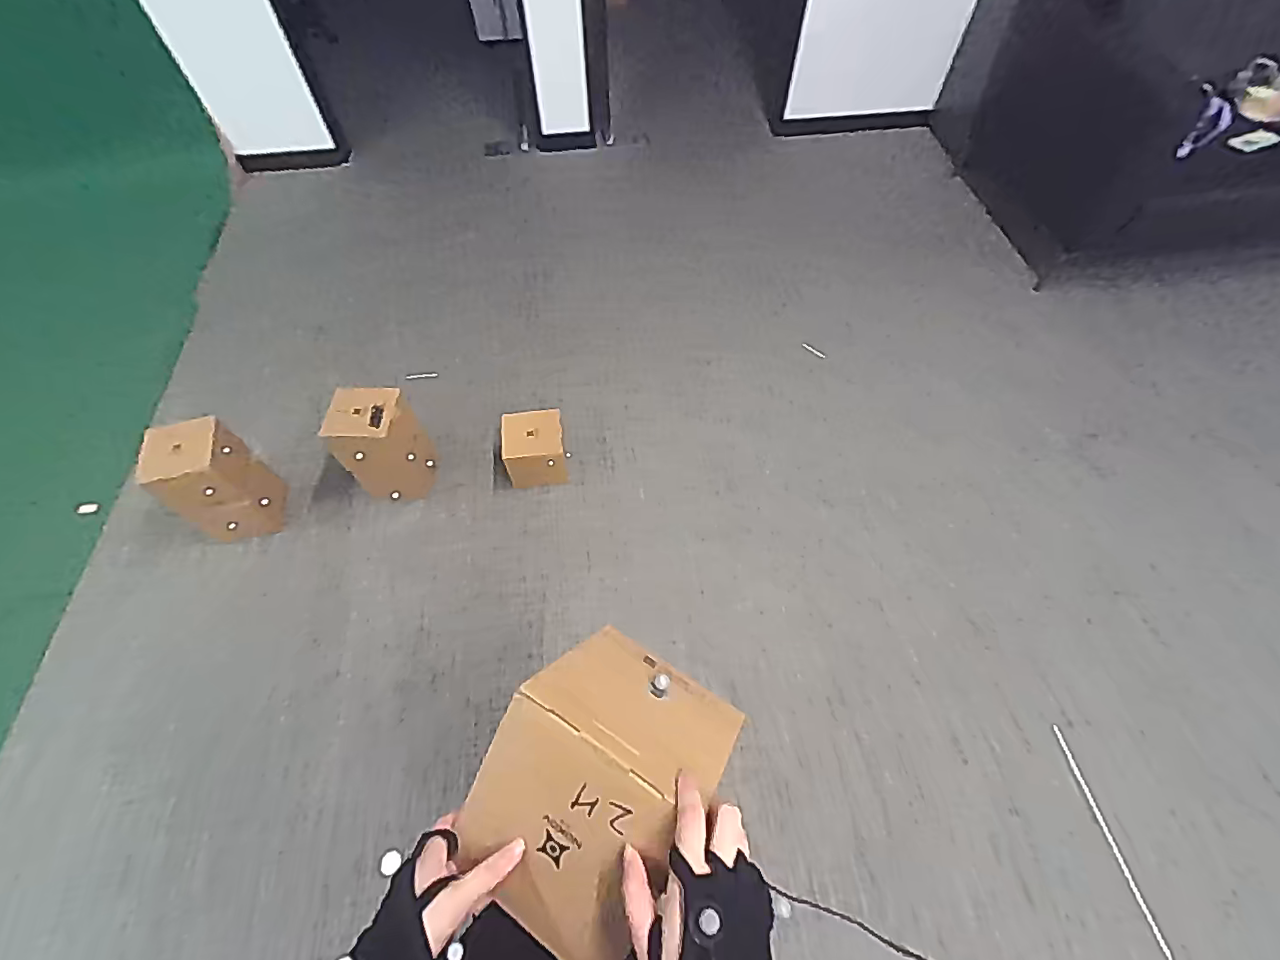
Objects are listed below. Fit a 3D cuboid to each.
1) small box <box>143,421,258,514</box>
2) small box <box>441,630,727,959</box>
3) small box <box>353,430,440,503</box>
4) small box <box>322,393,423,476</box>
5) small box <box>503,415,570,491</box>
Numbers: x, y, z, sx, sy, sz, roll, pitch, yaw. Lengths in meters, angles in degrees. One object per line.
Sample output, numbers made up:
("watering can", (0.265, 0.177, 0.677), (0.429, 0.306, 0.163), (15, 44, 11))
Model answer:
("small box", (-1.147, -0.025, 1.428), (0.168, 0.176, 0.179), (-14, 58, -9))
("small box", (-0.038, 0.270, 0.490), (0.168, 0.176, 0.179), (29, 102, 17))
("small box", (-0.725, -0.040, 1.632), (0.179, 0.176, 0.168), (1, 57, 0))
("small box", (-0.724, -0.122, 1.488), (0.179, 0.176, 0.168), (1, 58, 2))
("small box", (-0.314, -0.078, 1.658), (0.179, 0.176, 0.168), (-6, 58, -5))
